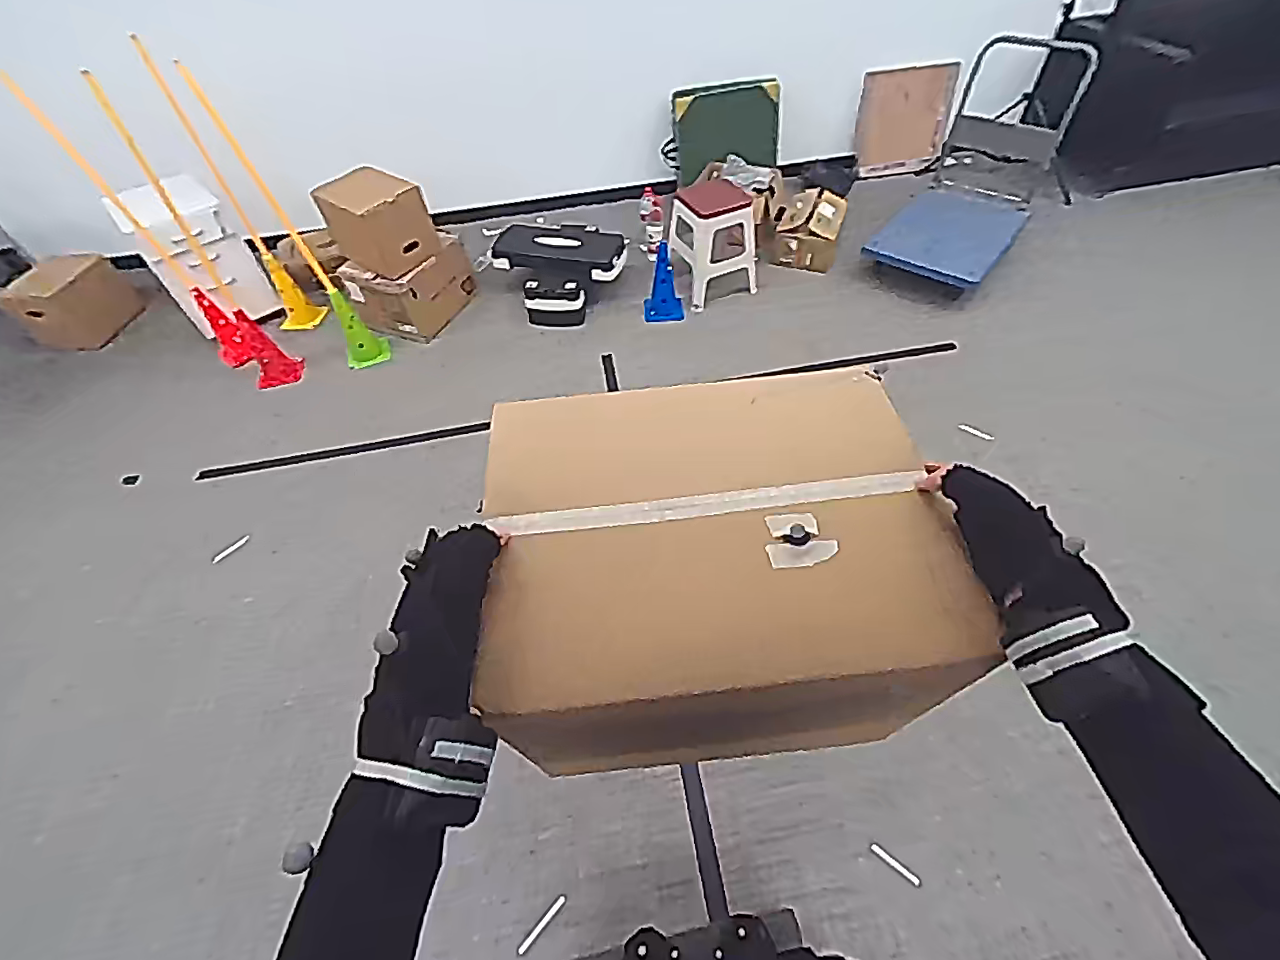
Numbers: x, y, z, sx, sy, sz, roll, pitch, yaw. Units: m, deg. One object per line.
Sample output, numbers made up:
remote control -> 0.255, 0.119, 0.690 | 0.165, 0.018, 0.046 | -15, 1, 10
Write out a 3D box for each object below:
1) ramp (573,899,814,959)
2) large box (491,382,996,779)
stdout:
ramp -> 0.198, 1.359, 0.898 | 0.509, 0.206, 0.991 | -12, 52, -6
large box -> 0.072, 0.124, 0.619 | 0.408, 0.320, 0.320 | -6, 54, -1
